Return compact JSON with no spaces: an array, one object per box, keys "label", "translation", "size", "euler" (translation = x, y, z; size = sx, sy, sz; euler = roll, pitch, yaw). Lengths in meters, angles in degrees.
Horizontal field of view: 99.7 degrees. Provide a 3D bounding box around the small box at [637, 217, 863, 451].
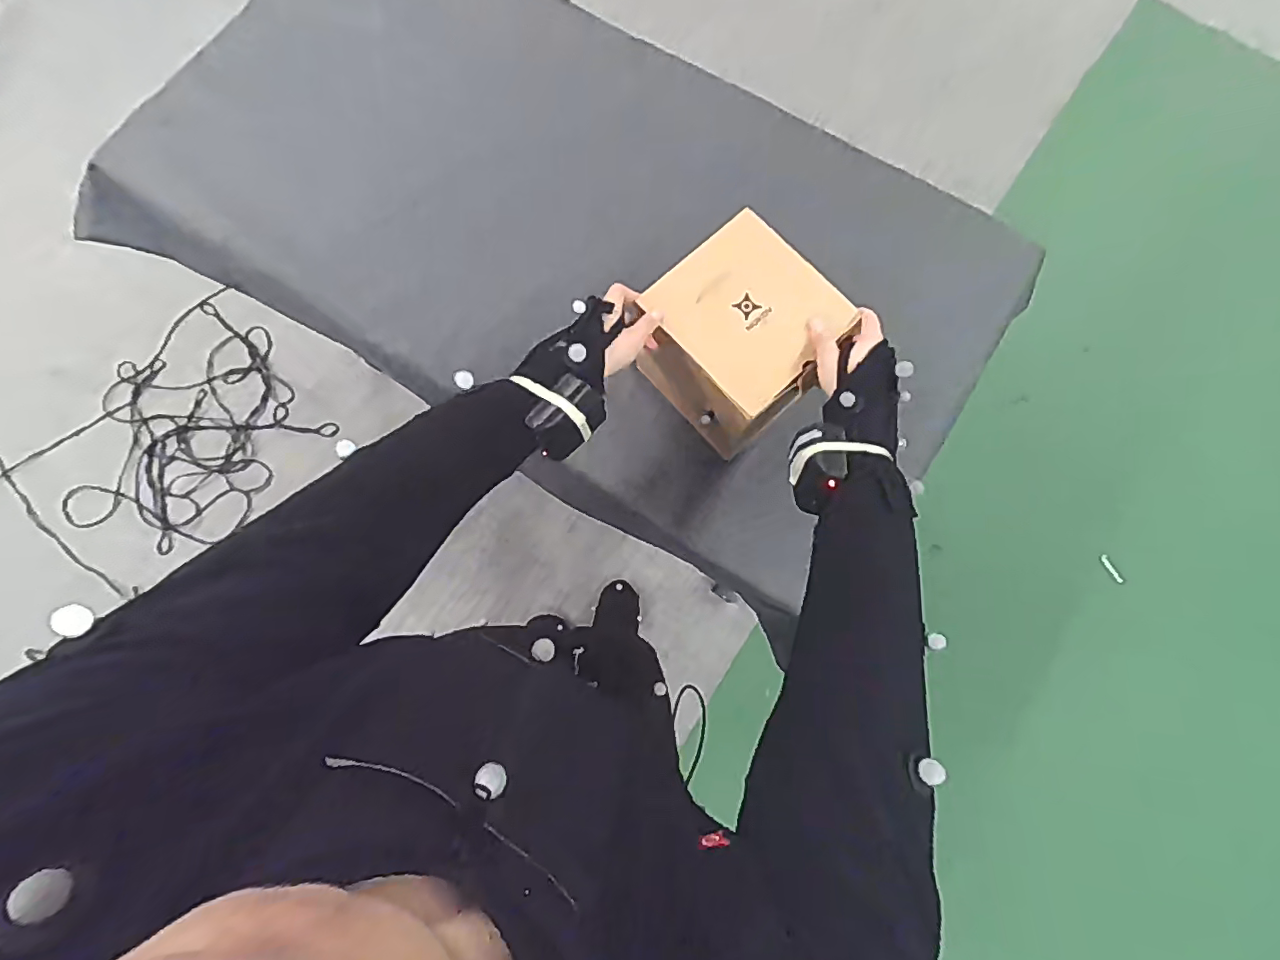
[{"label":"small box","translation":[0.114,-0.152,0.633],"size":[0.168,0.176,0.179],"euler":[-42,80,-9]}]
